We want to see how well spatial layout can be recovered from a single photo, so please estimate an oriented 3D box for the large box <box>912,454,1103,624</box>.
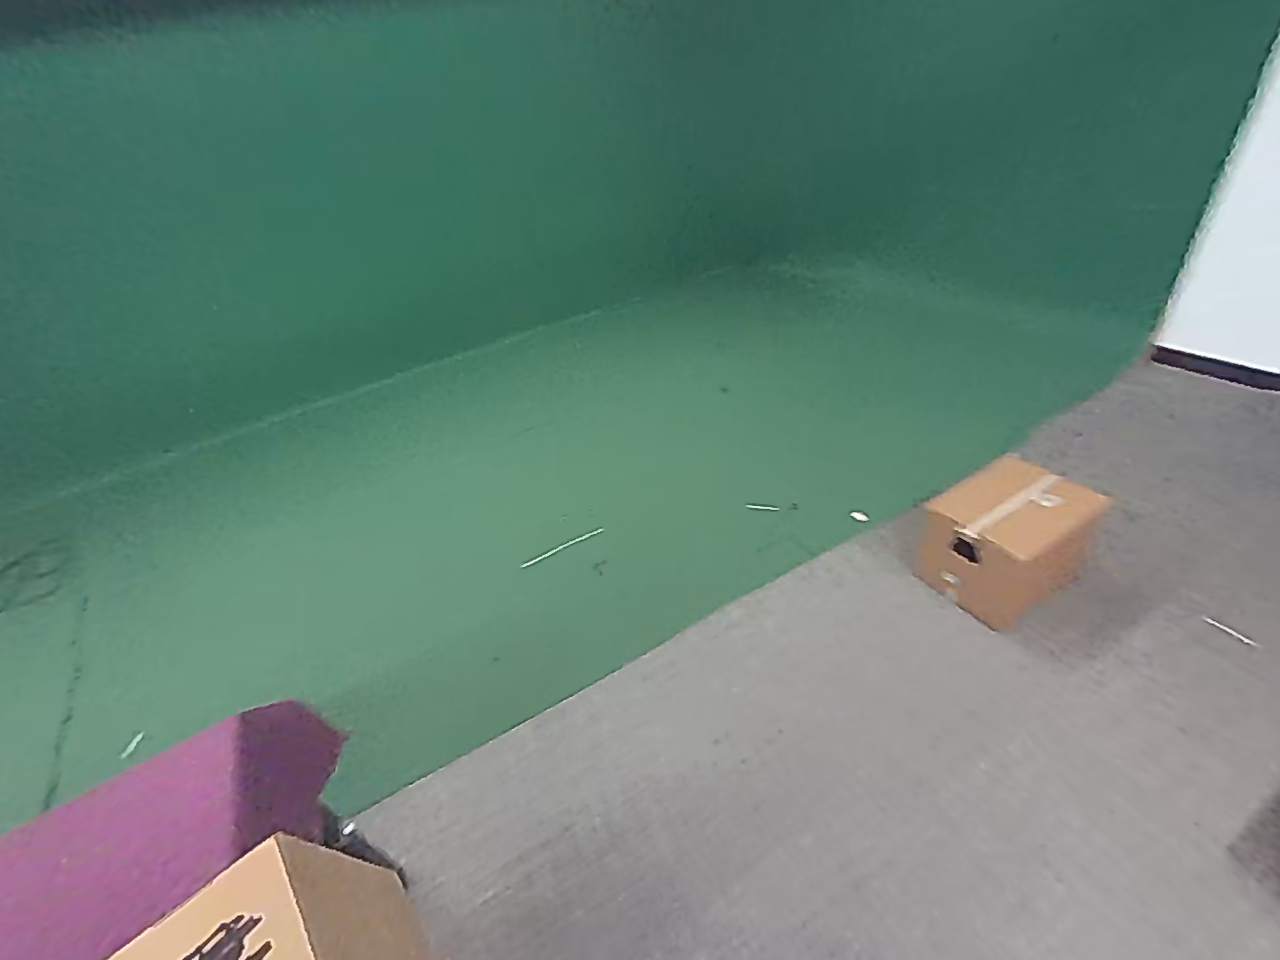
[{"bbox_3d":[1.144,0.179,1.721,0.408,0.320,0.320,-25,38,-18],"label":"large box"}]
